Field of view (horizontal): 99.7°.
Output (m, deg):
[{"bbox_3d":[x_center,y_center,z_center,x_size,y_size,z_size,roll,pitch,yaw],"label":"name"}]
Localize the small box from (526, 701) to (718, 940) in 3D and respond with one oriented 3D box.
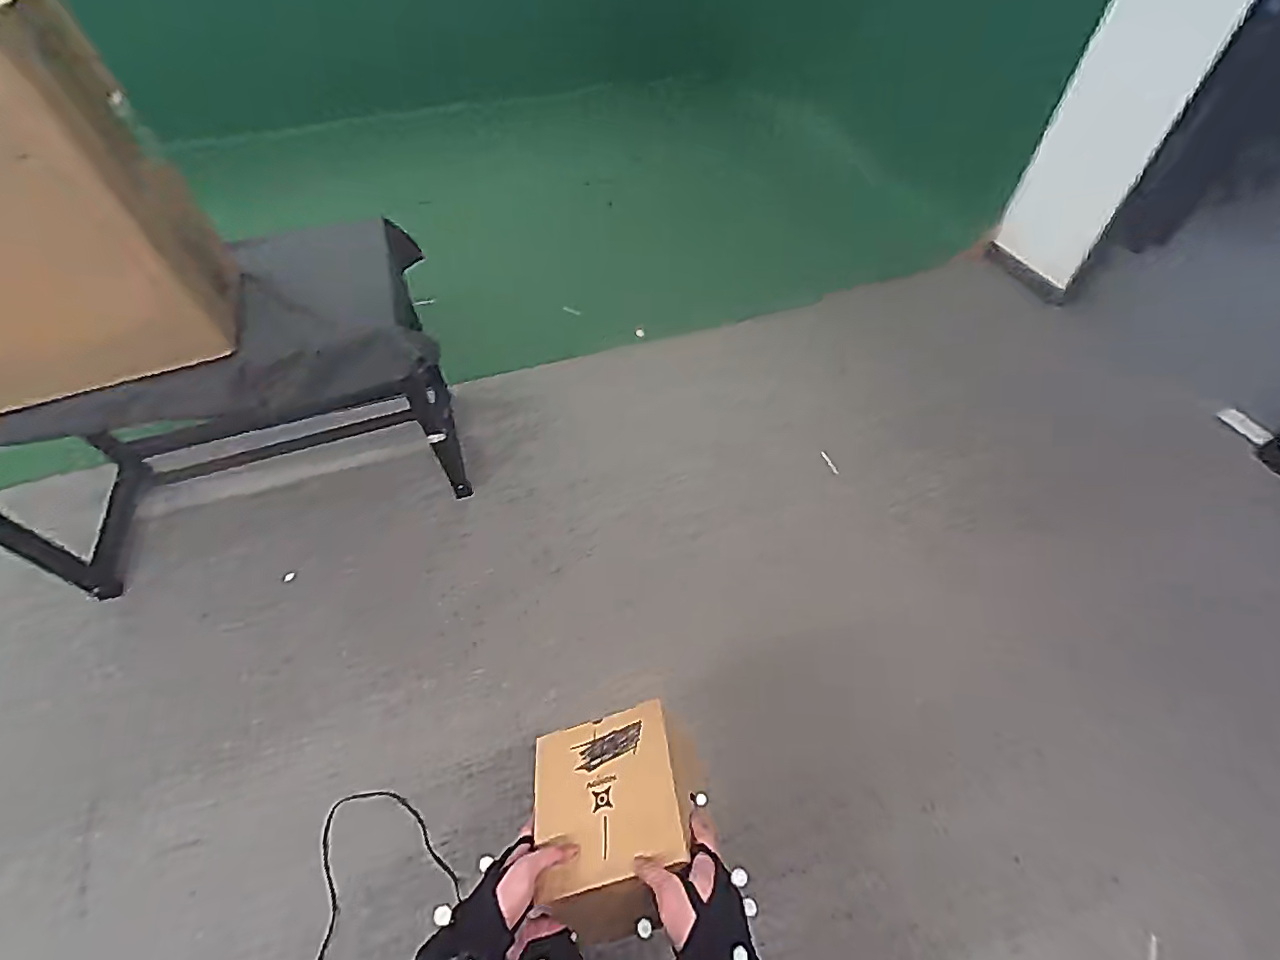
[{"bbox_3d":[-0.022,0.407,0.649,0.168,0.176,0.179,-22,36,6],"label":"small box"}]
